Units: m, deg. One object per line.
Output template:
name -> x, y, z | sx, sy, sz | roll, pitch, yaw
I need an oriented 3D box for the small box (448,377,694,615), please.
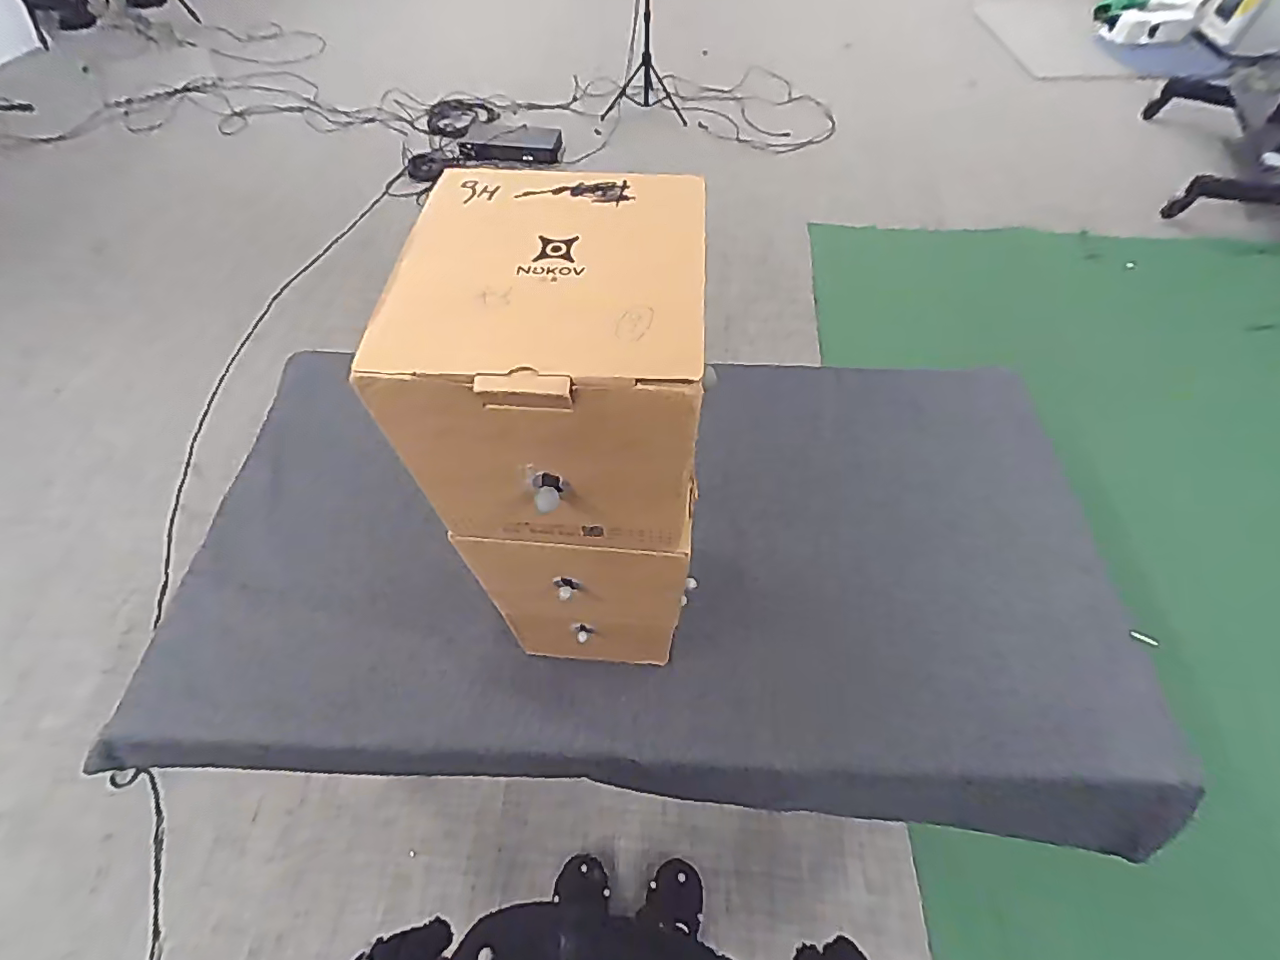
small box -> -0.045, 0.018, 0.494 | 0.179, 0.176, 0.168 | 2, 58, 4

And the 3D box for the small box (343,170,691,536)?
small box -> -0.052, -0.074, 0.359 | 0.168, 0.176, 0.179 | 2, 59, 3

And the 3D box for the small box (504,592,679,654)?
small box -> -0.043, 0.100, 0.636 | 0.179, 0.176, 0.168 | 3, 59, 2
